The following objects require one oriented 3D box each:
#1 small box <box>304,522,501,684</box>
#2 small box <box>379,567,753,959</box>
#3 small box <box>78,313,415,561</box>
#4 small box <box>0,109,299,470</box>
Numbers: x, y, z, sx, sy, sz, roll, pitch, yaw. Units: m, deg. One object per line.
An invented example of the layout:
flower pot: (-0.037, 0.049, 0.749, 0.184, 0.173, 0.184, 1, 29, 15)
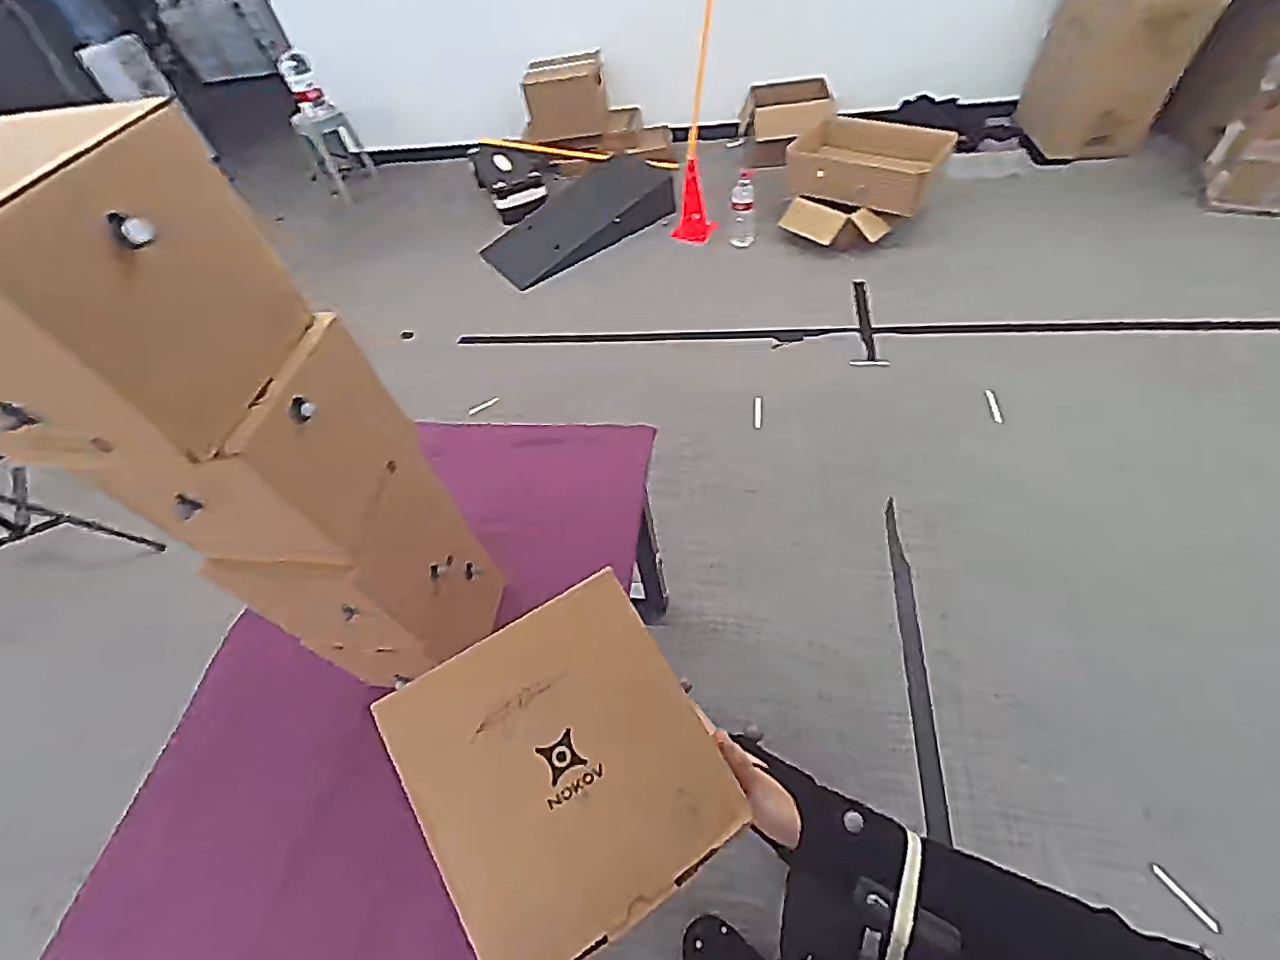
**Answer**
small box: (-0.311, 0.177, 0.757, 0.168, 0.176, 0.179, 0, 54, 10)
small box: (-0.051, 0.191, 0.394, 0.168, 0.176, 0.179, -28, 74, -17)
small box: (-0.352, -0.034, 0.510, 0.179, 0.176, 0.168, 0, 54, 10)
small box: (-0.385, -0.126, 0.379, 0.168, 0.176, 0.179, 0, 53, 9)
